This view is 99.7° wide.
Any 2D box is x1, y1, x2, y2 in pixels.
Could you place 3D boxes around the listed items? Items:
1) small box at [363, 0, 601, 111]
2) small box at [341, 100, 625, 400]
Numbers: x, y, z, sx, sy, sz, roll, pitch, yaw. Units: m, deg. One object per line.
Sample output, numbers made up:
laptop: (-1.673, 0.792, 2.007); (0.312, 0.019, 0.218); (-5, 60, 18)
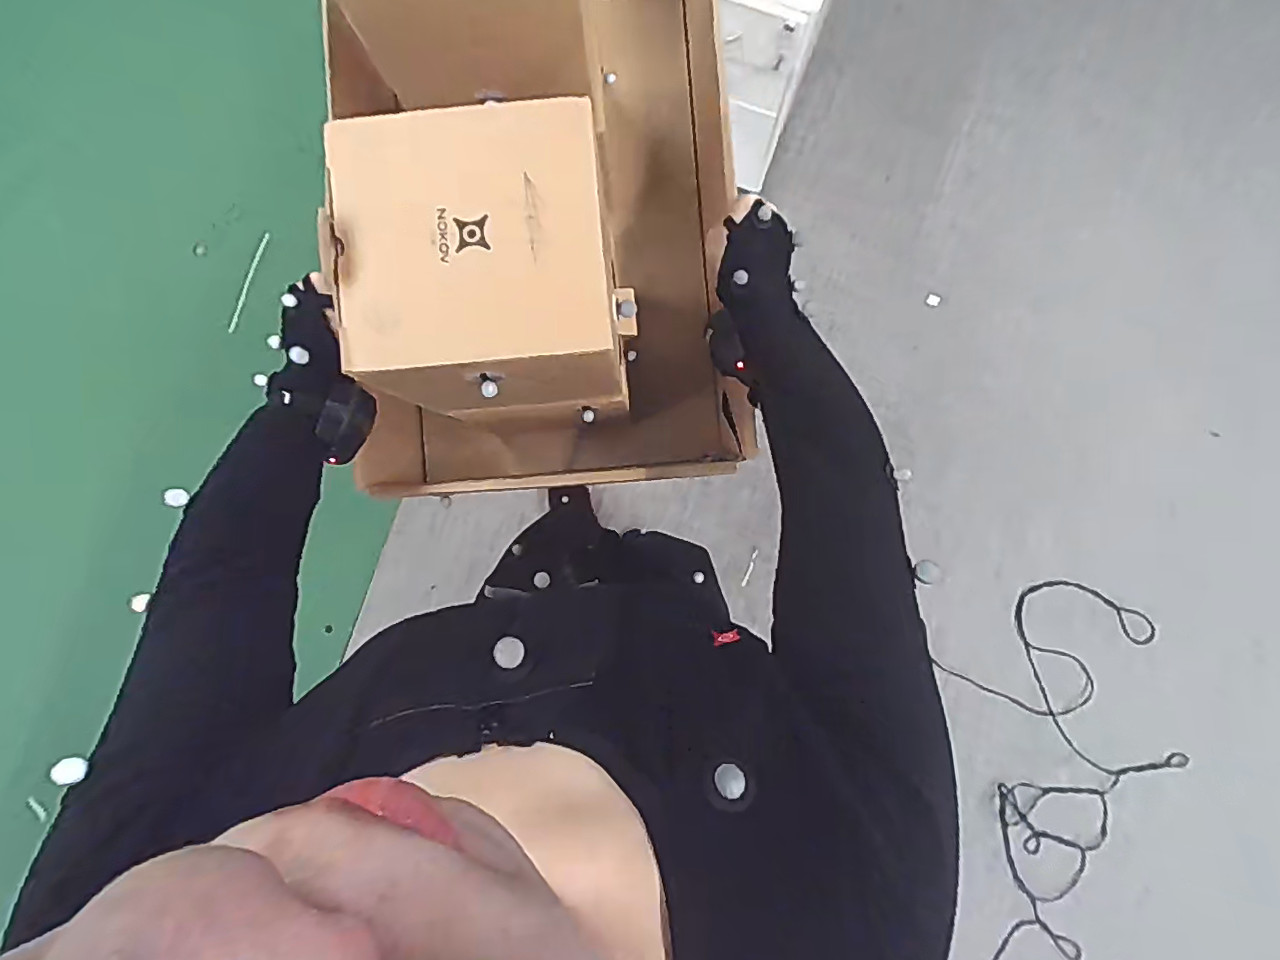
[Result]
small box: (-0.119, -0.414, 0.432); (0.168, 0.176, 0.179); (-3, 92, -1)
small box: (-0.106, -0.162, 0.435); (0.179, 0.176, 0.168); (-5, 90, -1)
